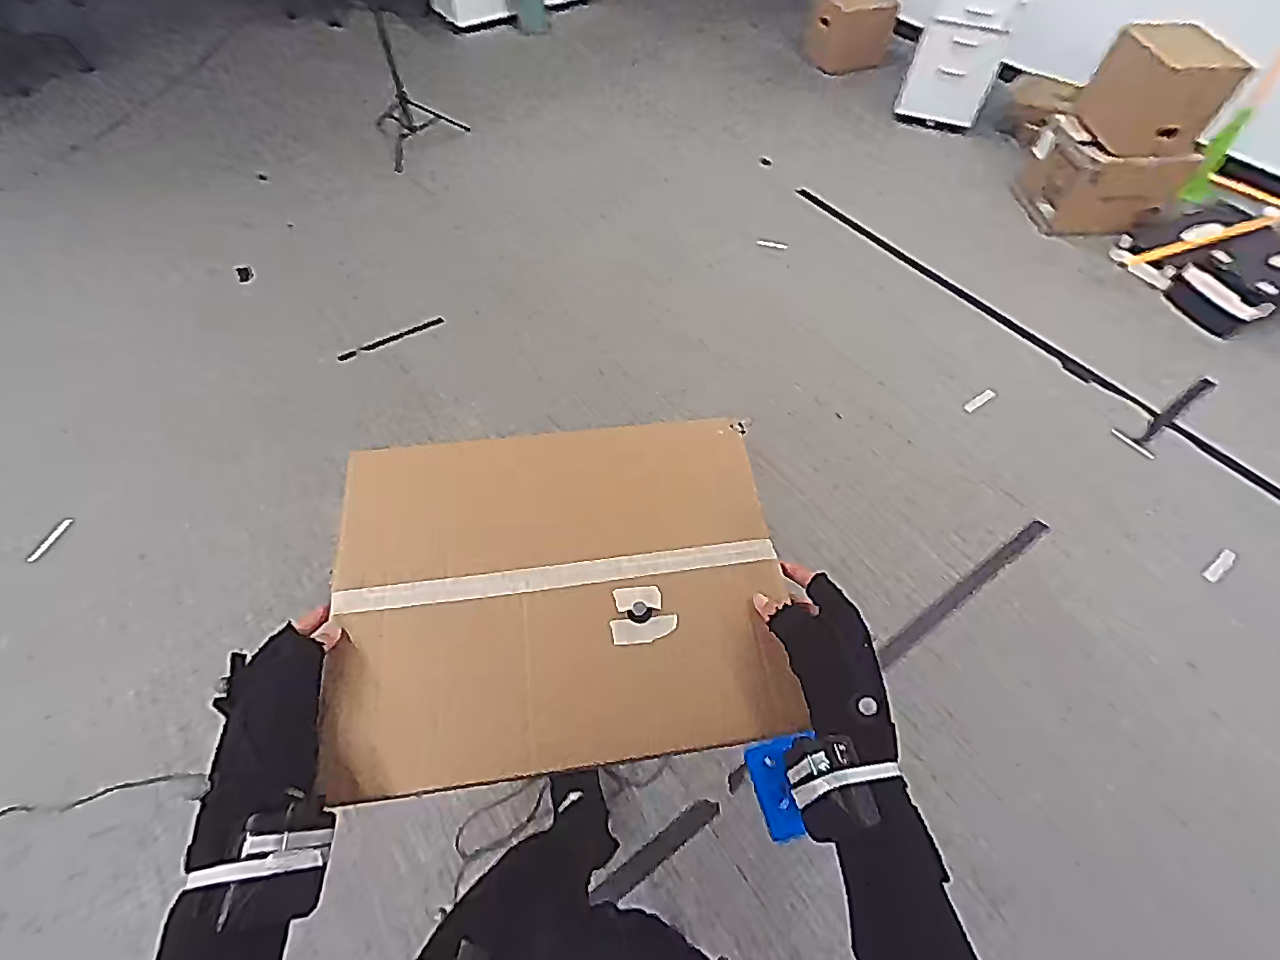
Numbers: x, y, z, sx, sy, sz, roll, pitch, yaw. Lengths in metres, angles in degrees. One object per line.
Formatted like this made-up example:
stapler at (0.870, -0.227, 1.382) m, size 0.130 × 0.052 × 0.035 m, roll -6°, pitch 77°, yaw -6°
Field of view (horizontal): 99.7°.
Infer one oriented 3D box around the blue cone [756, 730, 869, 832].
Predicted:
blue cone at (0.385, 0.620, 1.134) m, size 0.192 × 0.380 × 0.193 m, roll -11°, pitch 59°, yaw -8°

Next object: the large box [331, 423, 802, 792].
large box at (-0.082, 0.162, 0.649) m, size 0.408 × 0.320 × 0.320 m, roll -6°, pitch 63°, yaw -6°
